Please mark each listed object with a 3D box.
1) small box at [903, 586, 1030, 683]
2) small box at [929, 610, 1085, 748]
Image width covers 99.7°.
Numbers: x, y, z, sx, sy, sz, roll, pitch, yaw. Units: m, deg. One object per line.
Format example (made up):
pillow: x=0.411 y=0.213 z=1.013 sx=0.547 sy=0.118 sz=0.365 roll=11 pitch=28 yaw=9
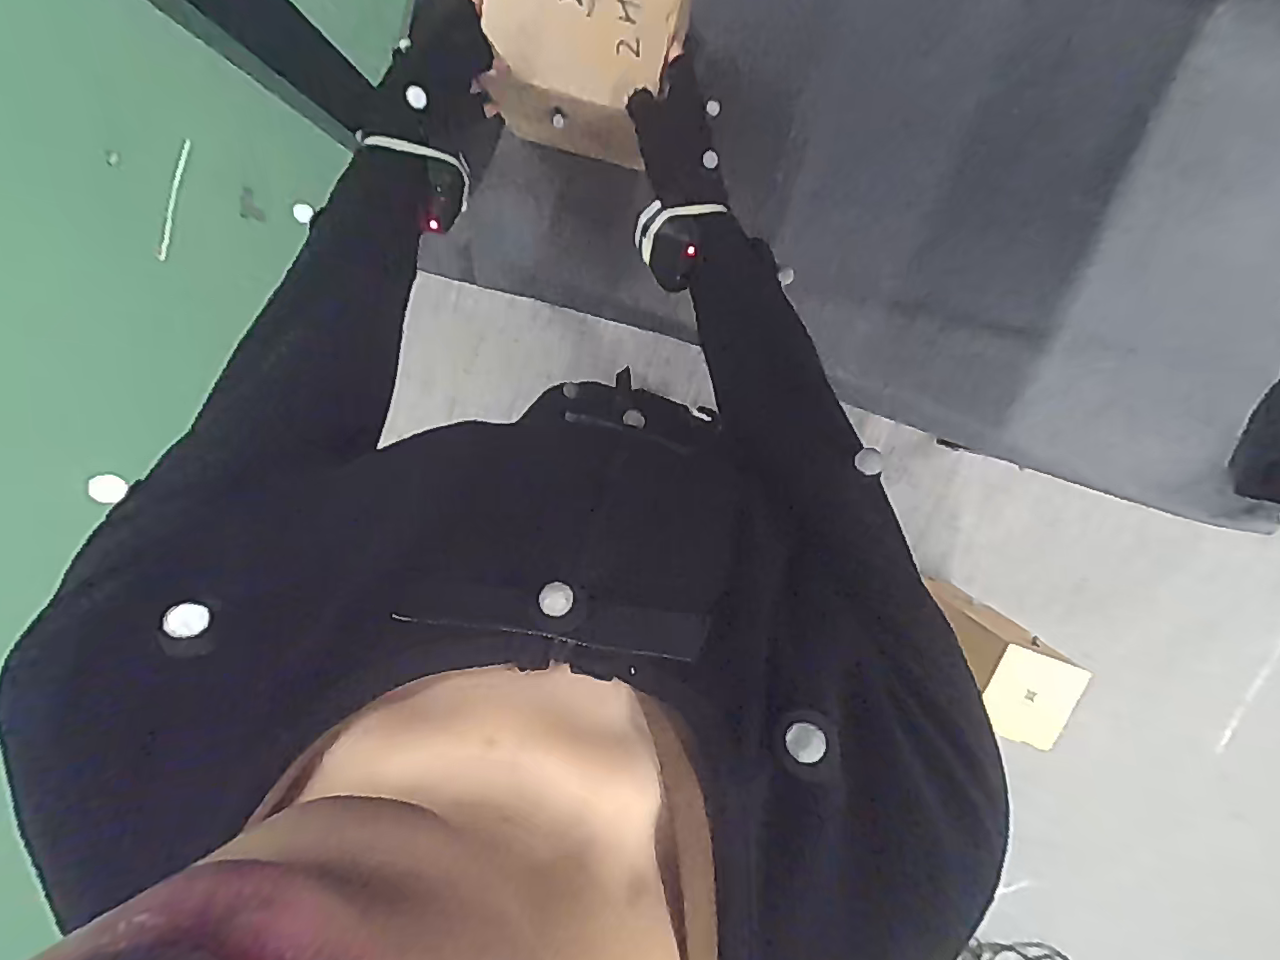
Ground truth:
small box: x=0.738 y=0.372 z=1.248 sx=0.168 sy=0.176 sz=0.179 roll=17 pitch=99 yaw=0
small box: x=0.720 y=0.388 z=1.086 sx=0.168 sy=0.176 sz=0.179 roll=20 pitch=100 yaw=0
